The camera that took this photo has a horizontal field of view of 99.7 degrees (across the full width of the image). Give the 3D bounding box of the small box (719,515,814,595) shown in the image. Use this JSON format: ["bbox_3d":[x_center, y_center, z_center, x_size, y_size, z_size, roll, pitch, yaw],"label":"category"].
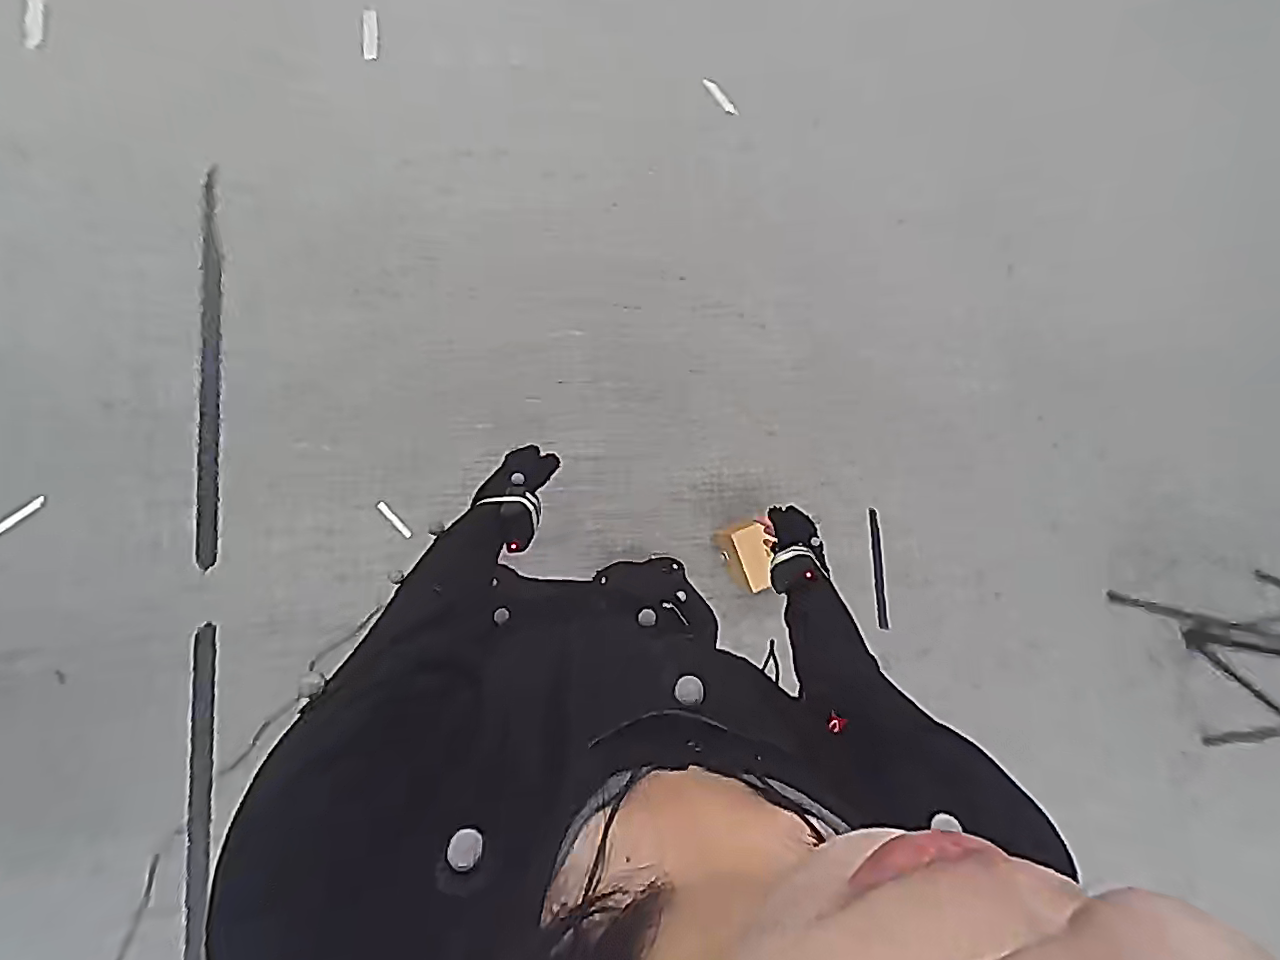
[{"bbox_3d":[0.343,0.200,1.493,0.179,0.176,0.168,-20,88,-9],"label":"small box"}]
